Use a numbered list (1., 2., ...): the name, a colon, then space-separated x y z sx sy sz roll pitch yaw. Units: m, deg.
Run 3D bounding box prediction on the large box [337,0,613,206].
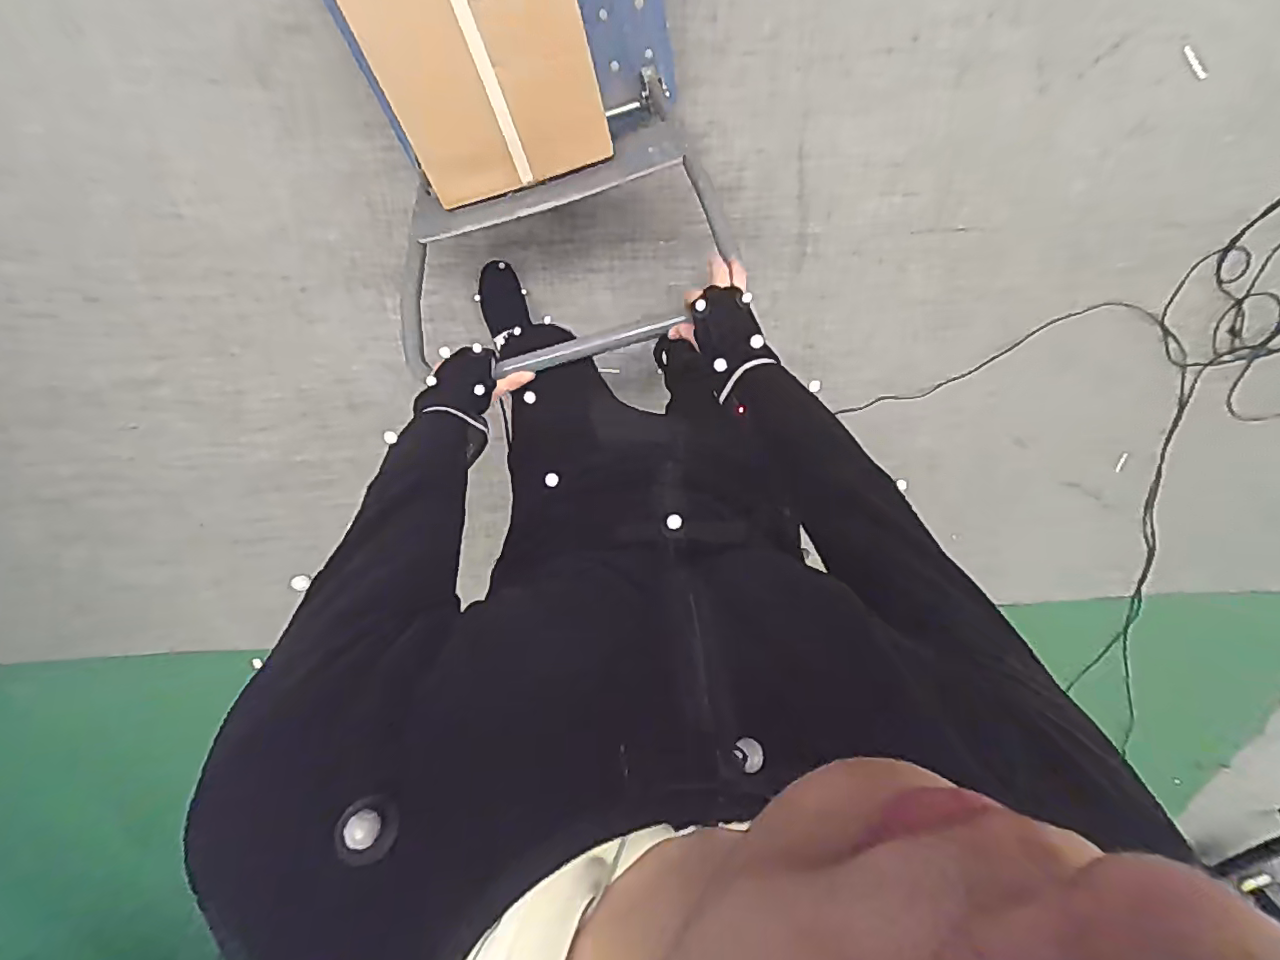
1. large box: -0.259 -0.747 0.875 0.320 0.320 0.408 -16 139 5
